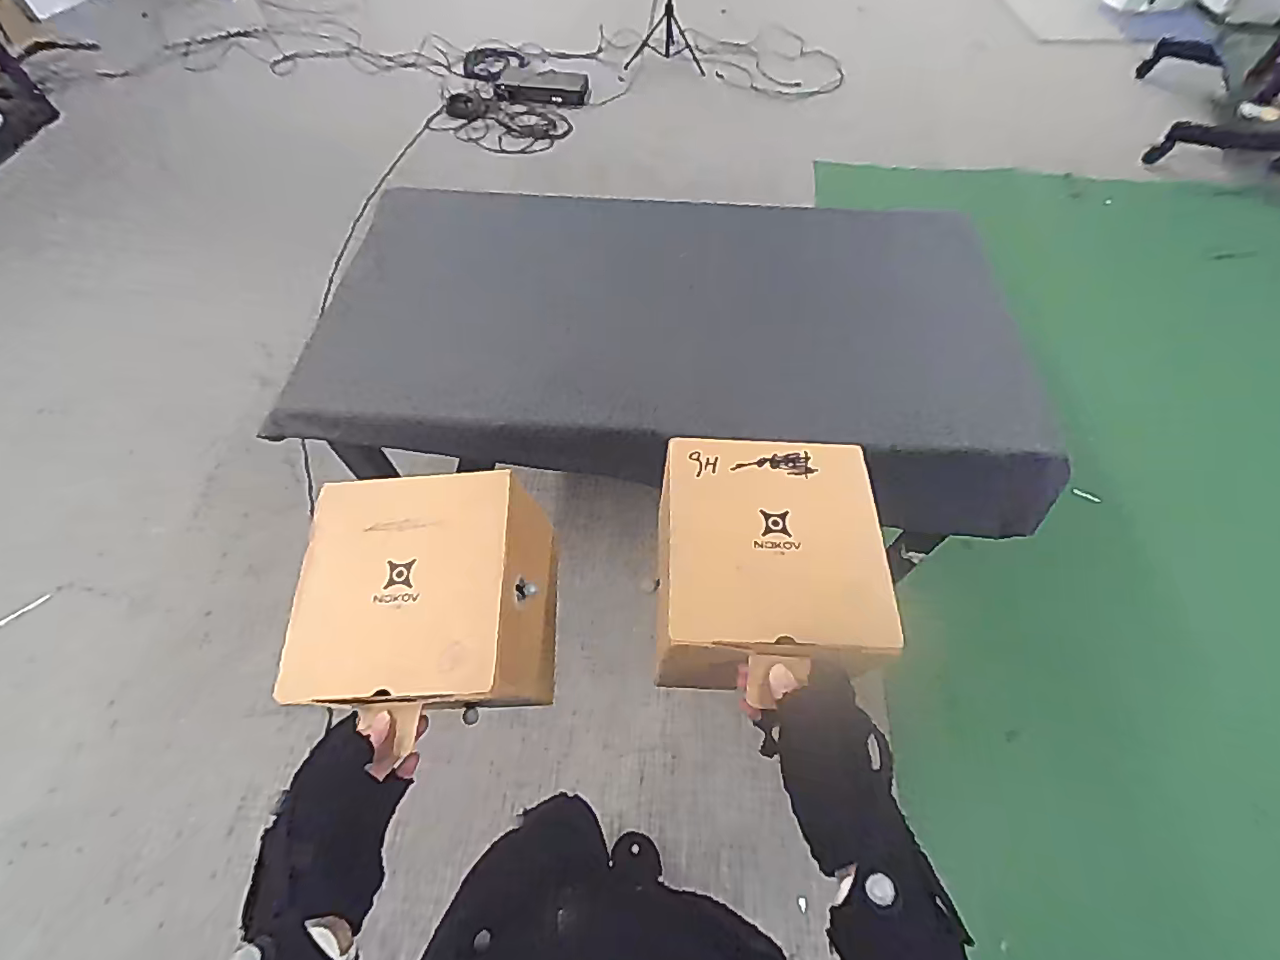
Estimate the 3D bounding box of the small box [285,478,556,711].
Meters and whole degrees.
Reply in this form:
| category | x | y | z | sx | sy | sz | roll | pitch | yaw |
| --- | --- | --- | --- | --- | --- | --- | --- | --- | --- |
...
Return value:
| category | x | y | z | sx | sy | sz | roll | pitch | yaw |
| --- | --- | --- | --- | --- | --- | --- | --- | --- | --- |
| small box | -0.178 | 0.116 | 0.500 | 0.168 | 0.176 | 0.179 | -5 | 64 | 4 |
